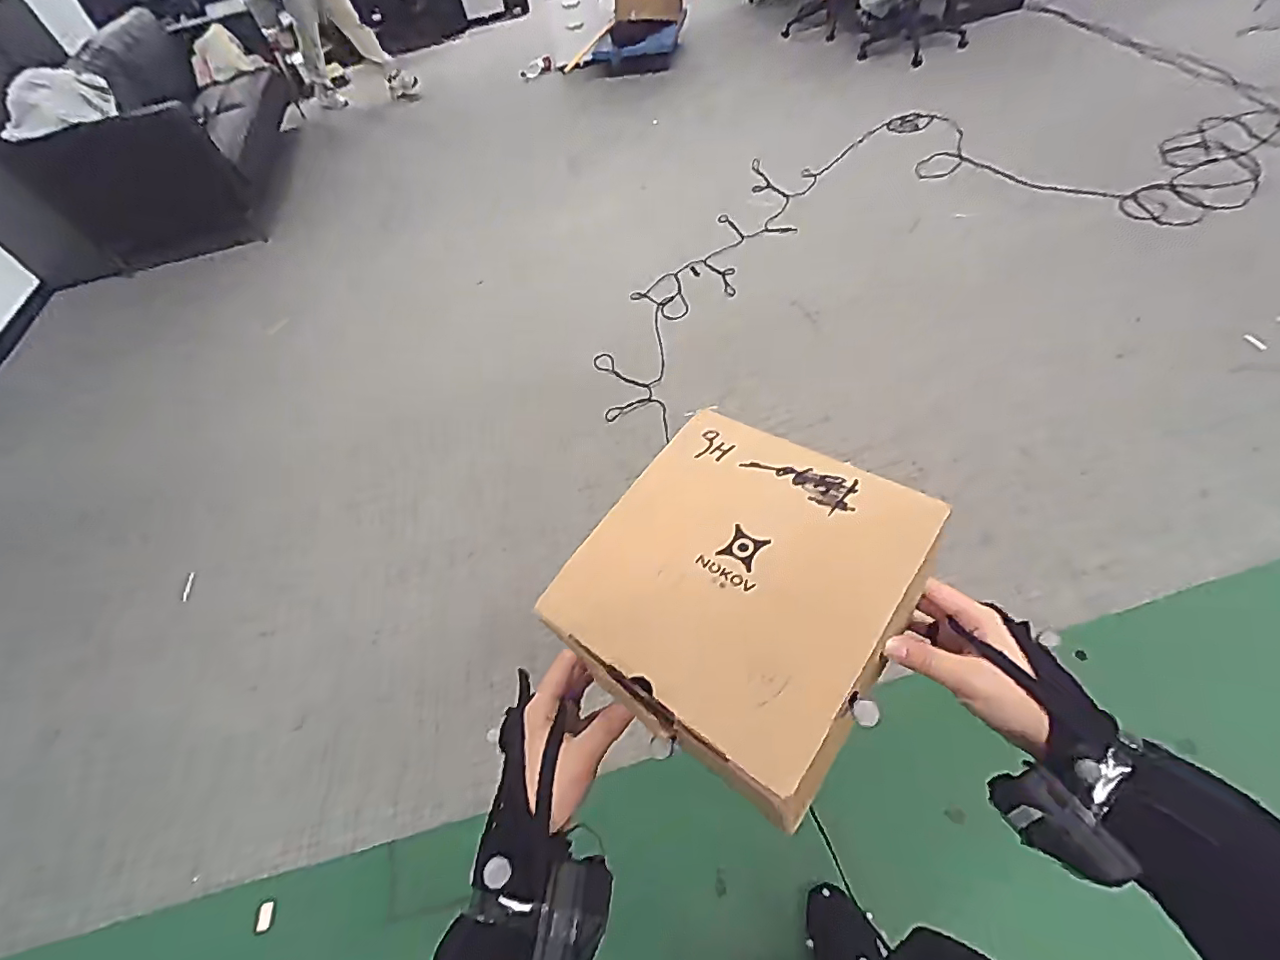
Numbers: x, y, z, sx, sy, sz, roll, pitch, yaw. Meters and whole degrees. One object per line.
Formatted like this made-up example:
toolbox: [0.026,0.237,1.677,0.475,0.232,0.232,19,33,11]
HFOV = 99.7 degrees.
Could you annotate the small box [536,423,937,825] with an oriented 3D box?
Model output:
small box: [0.070,0.099,0.365,0.168,0.176,0.179,27,67,31]
